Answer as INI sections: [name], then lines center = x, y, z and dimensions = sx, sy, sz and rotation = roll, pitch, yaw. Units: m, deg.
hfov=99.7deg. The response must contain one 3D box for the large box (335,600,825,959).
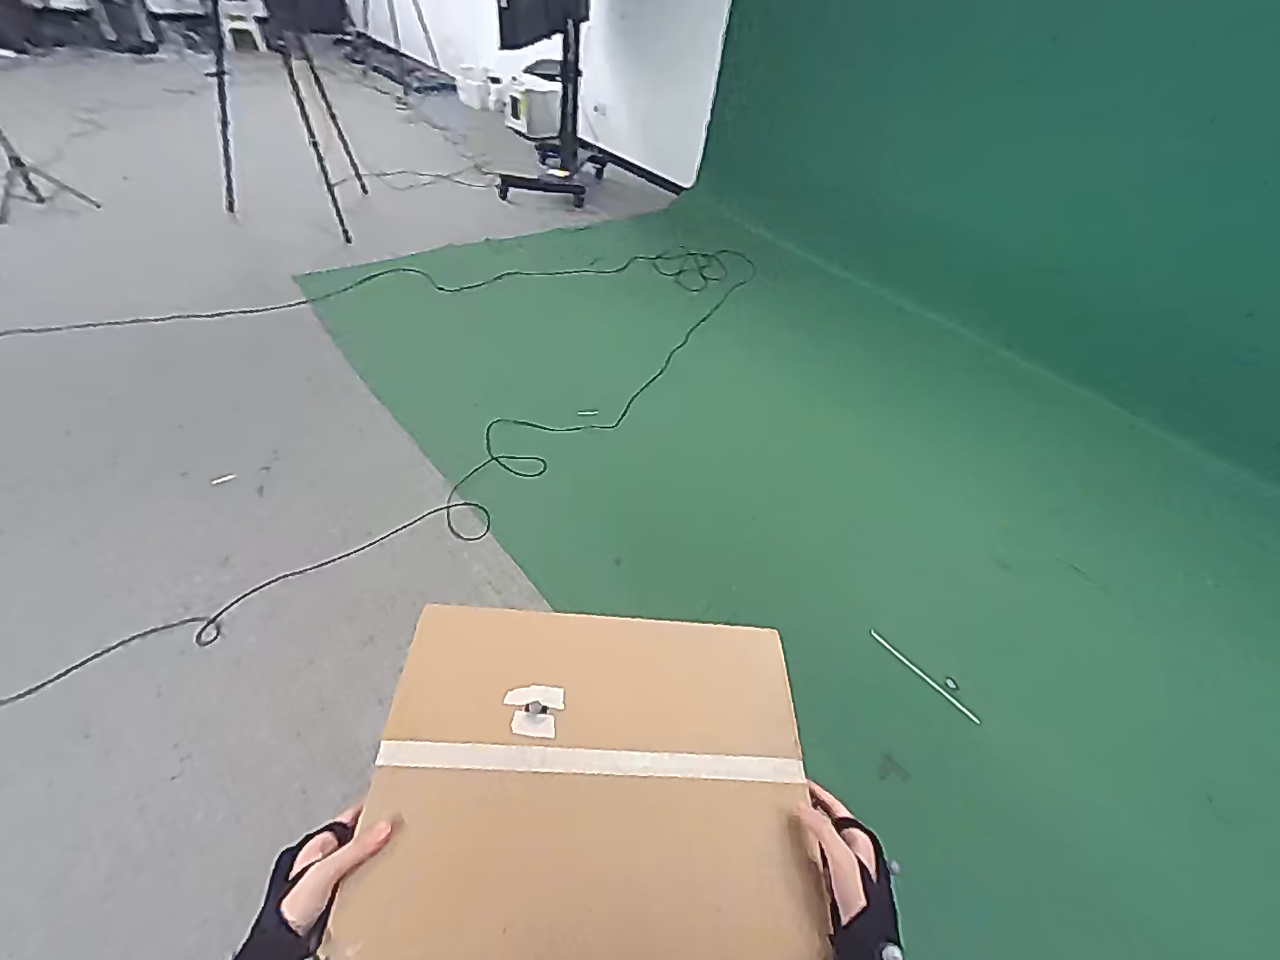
[large box]
center = -0.054, 0.364, 0.643
dimensions = 0.408, 0.320, 0.320
rotation = 6, 48, -4
